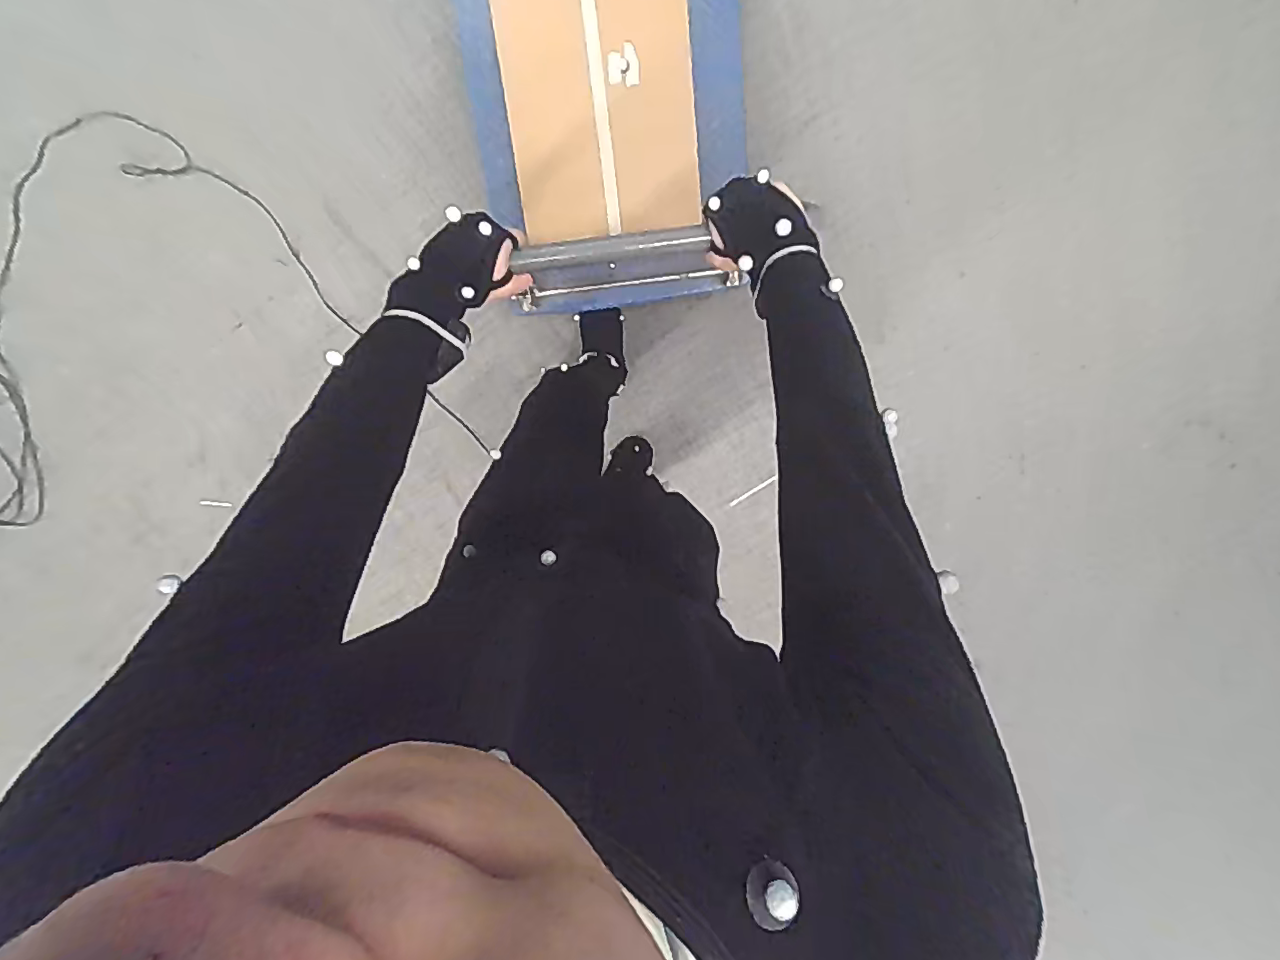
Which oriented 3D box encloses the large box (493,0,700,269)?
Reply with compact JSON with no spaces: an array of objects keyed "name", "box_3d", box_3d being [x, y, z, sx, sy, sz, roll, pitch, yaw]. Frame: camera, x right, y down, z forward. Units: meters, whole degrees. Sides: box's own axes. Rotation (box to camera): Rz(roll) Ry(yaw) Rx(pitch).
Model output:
[{"name":"large box","box_3d":[-0.061,-0.657,1.066,0.320,0.320,0.408,-5,107,2]}]
